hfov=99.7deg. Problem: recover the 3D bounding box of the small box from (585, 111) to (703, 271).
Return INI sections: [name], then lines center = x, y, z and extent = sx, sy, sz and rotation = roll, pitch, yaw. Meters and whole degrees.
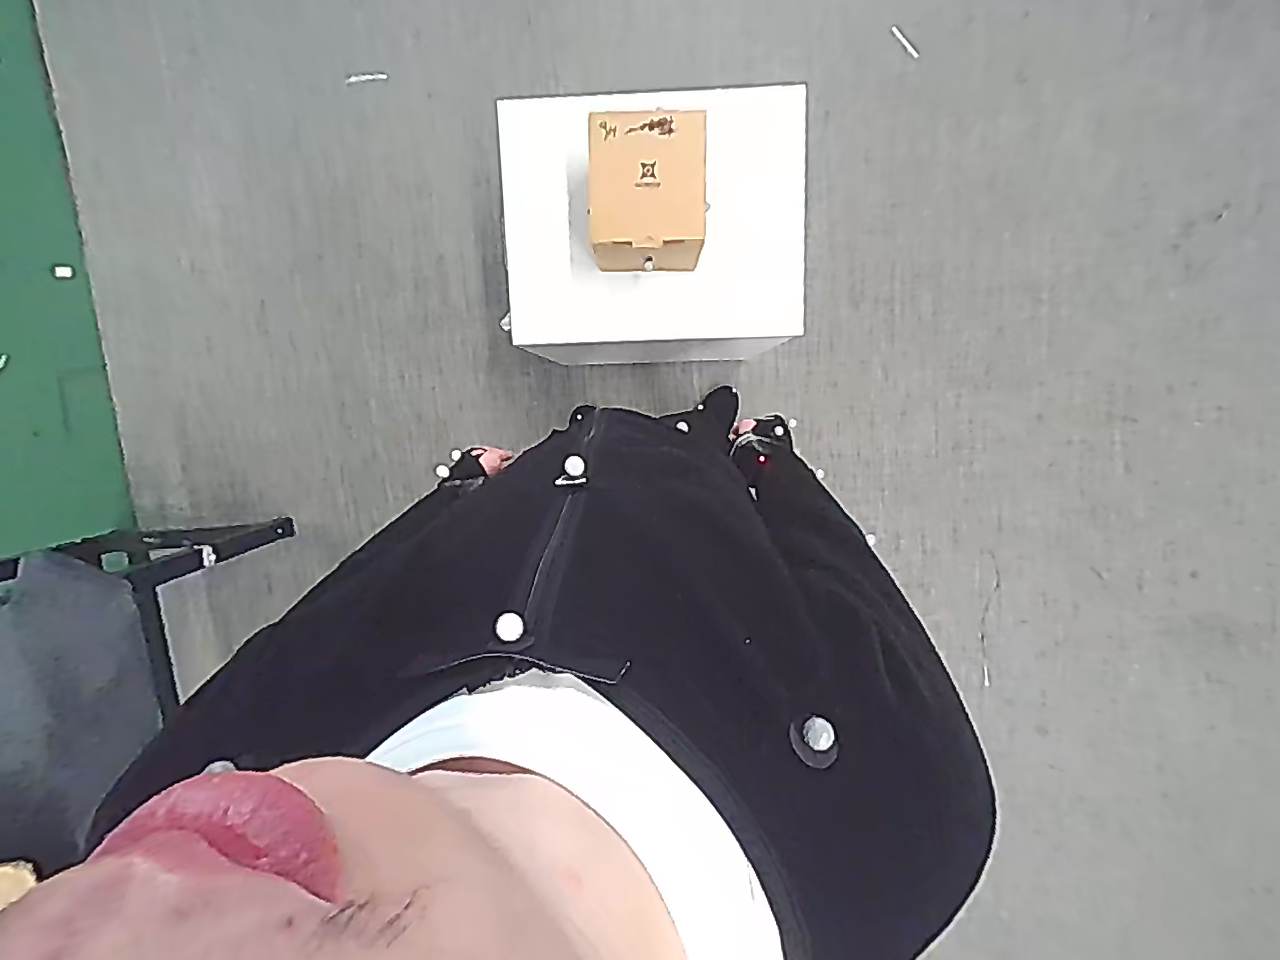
[small box]
center = 0.010, -0.430, 0.835
extent = 0.168, 0.176, 0.179
rotation = -2, 97, 2
